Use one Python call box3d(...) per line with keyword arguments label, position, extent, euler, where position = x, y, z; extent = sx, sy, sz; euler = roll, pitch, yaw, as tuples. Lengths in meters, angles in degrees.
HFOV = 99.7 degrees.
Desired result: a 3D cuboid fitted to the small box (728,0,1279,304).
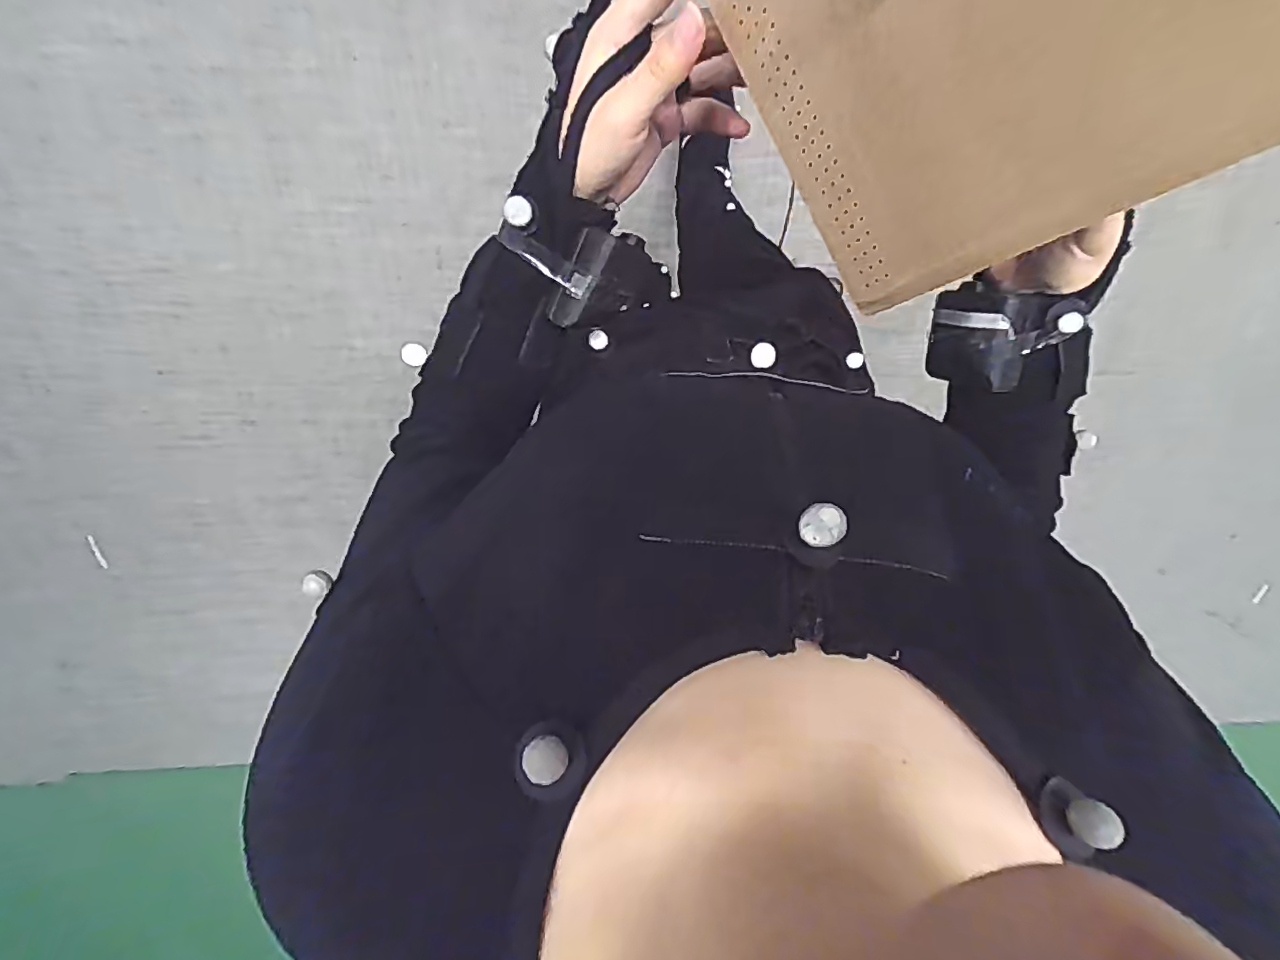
box3d(label="small box", position=(0.154, -0.193, 0.186), extent=(0.168, 0.176, 0.179), euler=(-33, 97, -9))
